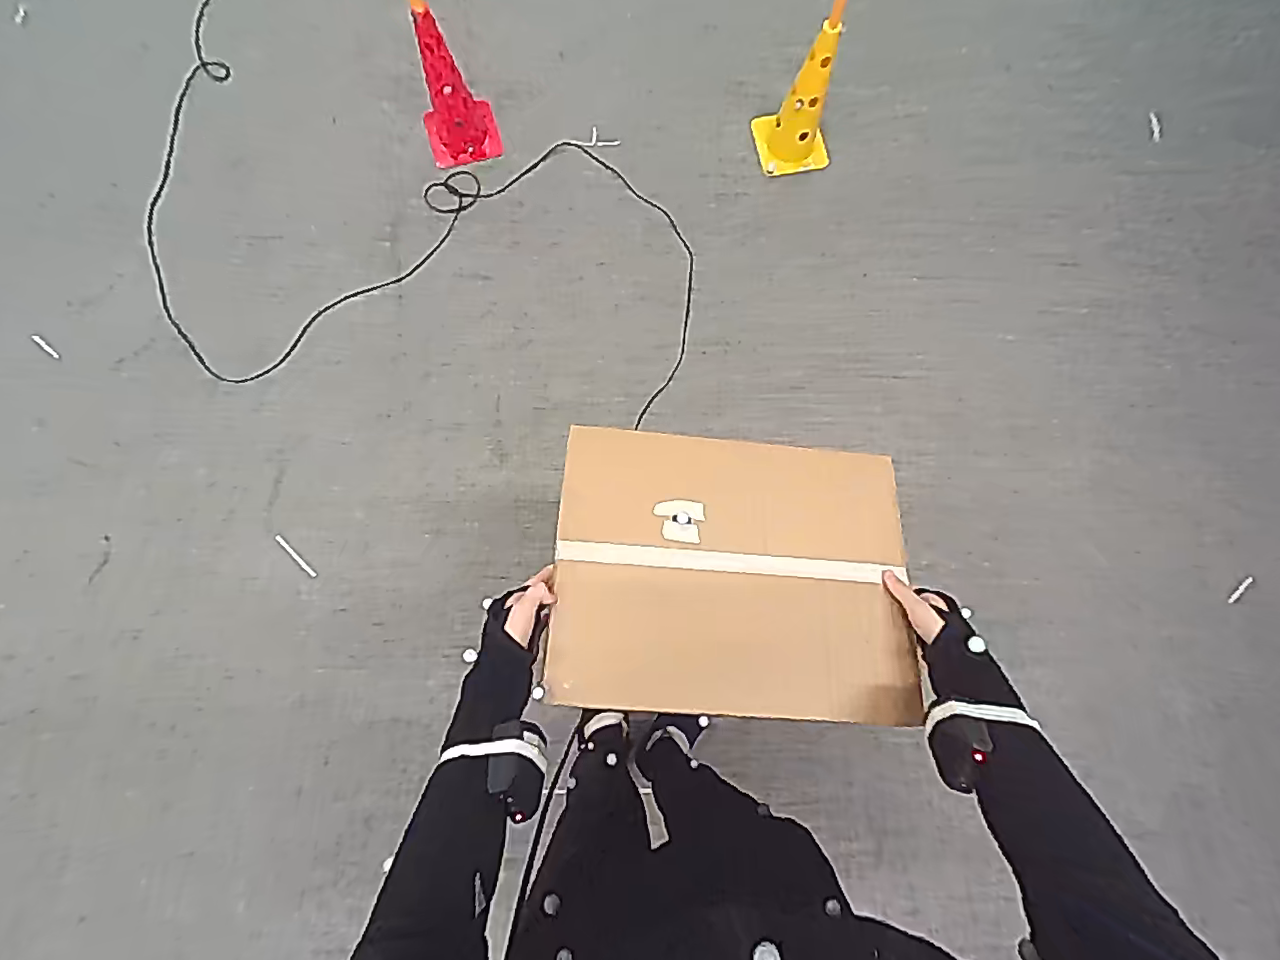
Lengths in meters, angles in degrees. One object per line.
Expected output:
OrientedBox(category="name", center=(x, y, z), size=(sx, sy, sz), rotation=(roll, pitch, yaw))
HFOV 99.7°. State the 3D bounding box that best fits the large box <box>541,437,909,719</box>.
OrientedBox(category="large box", center=(0.091, 0.152, 0.762), size=(0.408, 0.320, 0.320), rotation=(4, 68, -3))
